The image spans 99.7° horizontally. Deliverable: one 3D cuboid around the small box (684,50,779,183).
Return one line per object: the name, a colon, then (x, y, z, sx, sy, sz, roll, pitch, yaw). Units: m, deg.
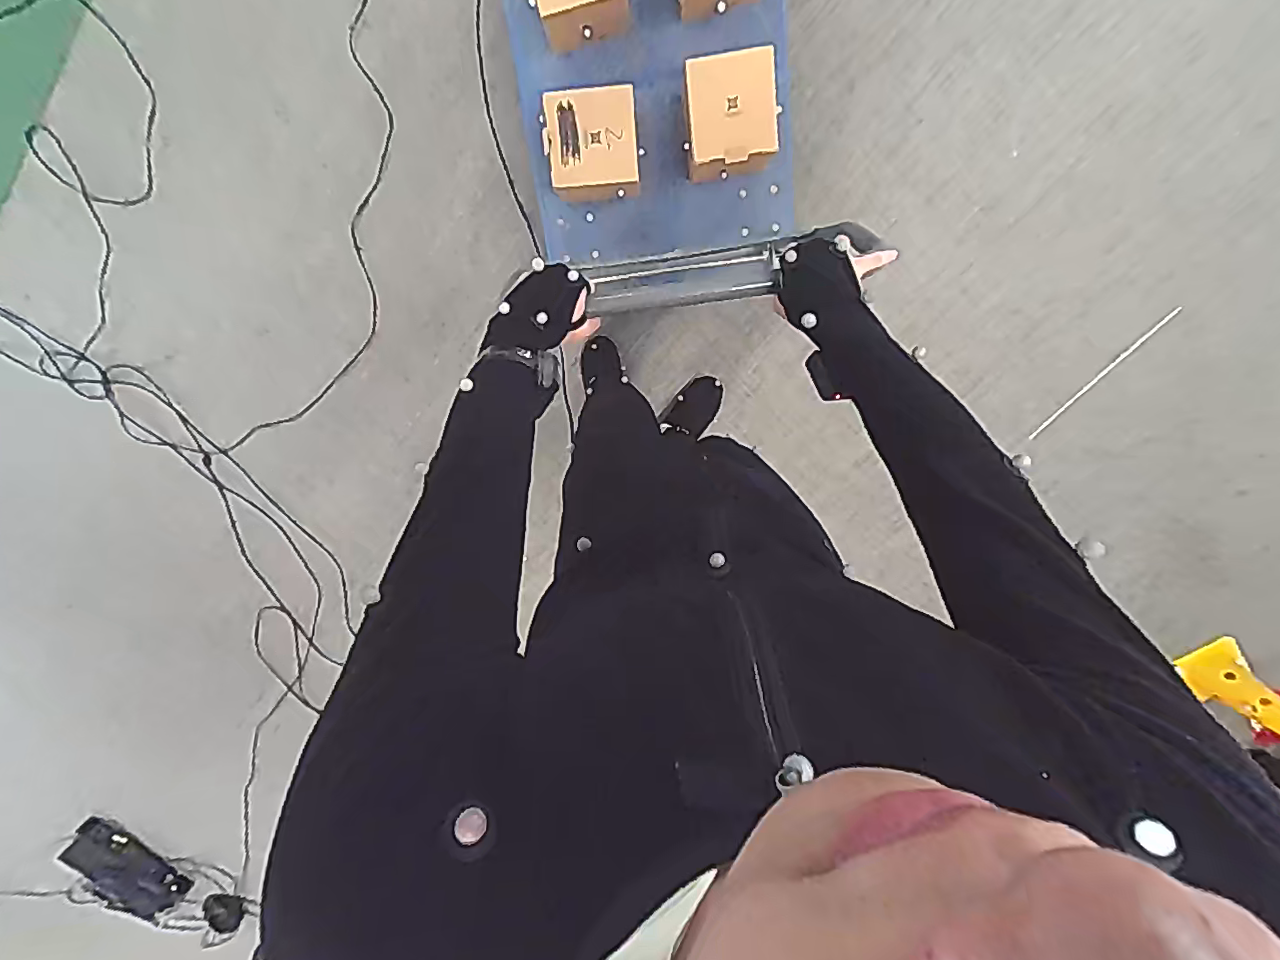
small box: (0.181, -0.728, 1.103, 0.168, 0.176, 0.179, -7, 109, 4)

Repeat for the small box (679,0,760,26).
small box: (0.147, -1.008, 1.010, 0.168, 0.176, 0.179, -11, 108, 6)

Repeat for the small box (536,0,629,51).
small box: (-0.118, -0.963, 1.033, 0.168, 0.176, 0.179, -12, 107, 5)
